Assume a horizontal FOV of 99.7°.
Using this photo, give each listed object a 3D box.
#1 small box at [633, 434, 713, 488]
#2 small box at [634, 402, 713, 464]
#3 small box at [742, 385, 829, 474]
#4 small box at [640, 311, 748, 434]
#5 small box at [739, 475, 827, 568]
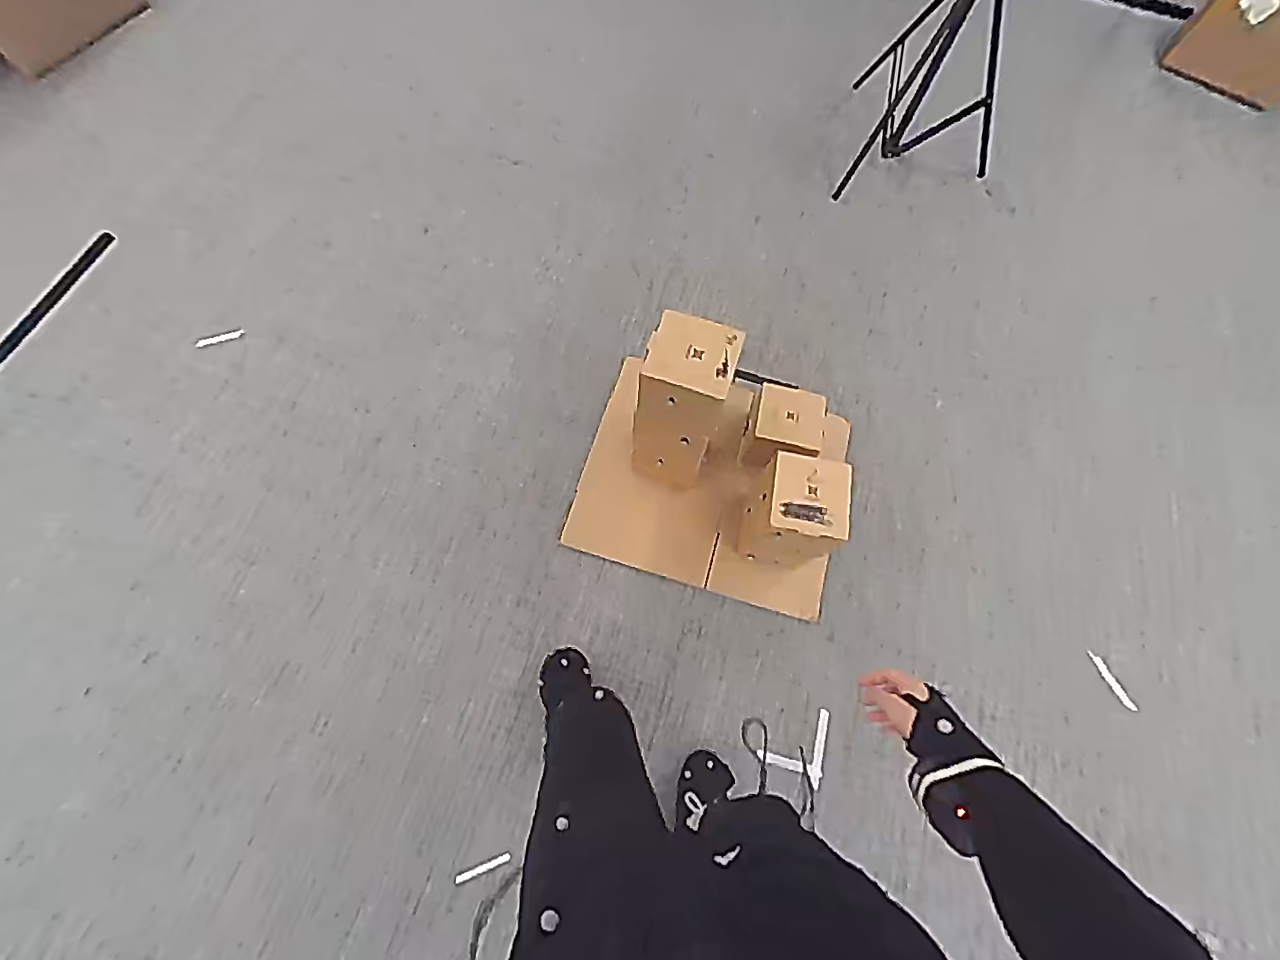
[{"bbox_3d":[0.089,-0.095,1.434,0.179,0.176,0.168,20,70,6],"label":"small box"},{"bbox_3d":[0.095,-0.155,1.281,0.179,0.176,0.168,21,69,6],"label":"small box"},{"bbox_3d":[0.391,-0.128,1.465,0.179,0.176,0.168,13,68,2],"label":"small box"},{"bbox_3d":[0.106,-0.216,1.129,0.179,0.176,0.168,18,70,6],"label":"small box"},{"bbox_3d":[0.355,0.113,1.371,0.168,0.176,0.179,13,69,2],"label":"small box"}]
